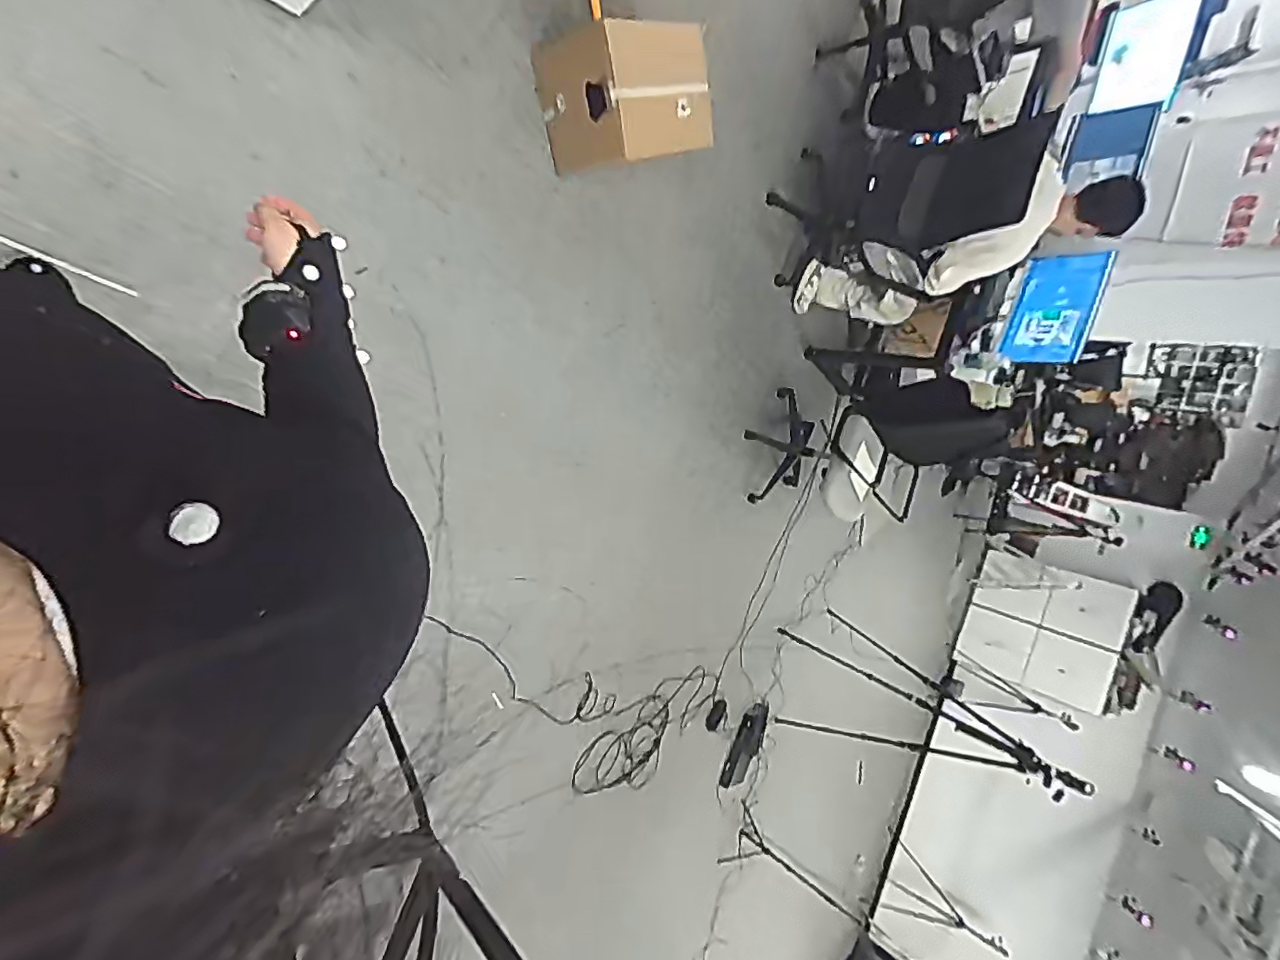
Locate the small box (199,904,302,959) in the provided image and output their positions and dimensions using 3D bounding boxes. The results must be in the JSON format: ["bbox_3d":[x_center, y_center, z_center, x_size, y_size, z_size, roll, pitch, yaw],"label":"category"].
[{"bbox_3d":[-1.063,1.297,1.455,0.179,0.176,0.168,33,78,-48],"label":"small box"}]
